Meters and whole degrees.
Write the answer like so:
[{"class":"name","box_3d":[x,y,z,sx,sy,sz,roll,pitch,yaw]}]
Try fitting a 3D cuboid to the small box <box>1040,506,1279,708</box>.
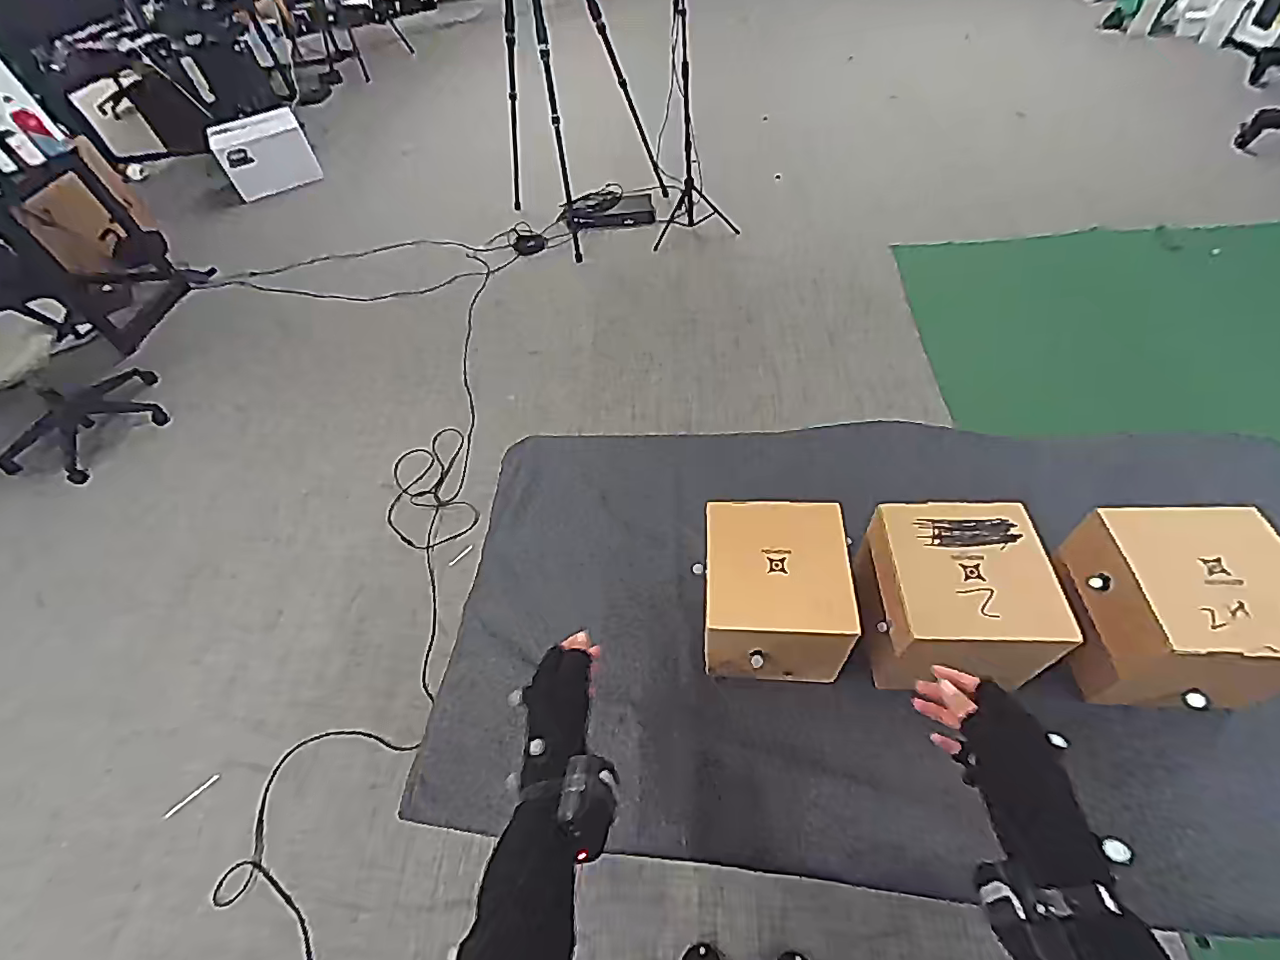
[{"class":"small box","box_3d":[0.616,0.148,0.632,0.168,0.176,0.179,-1,52,8]}]
